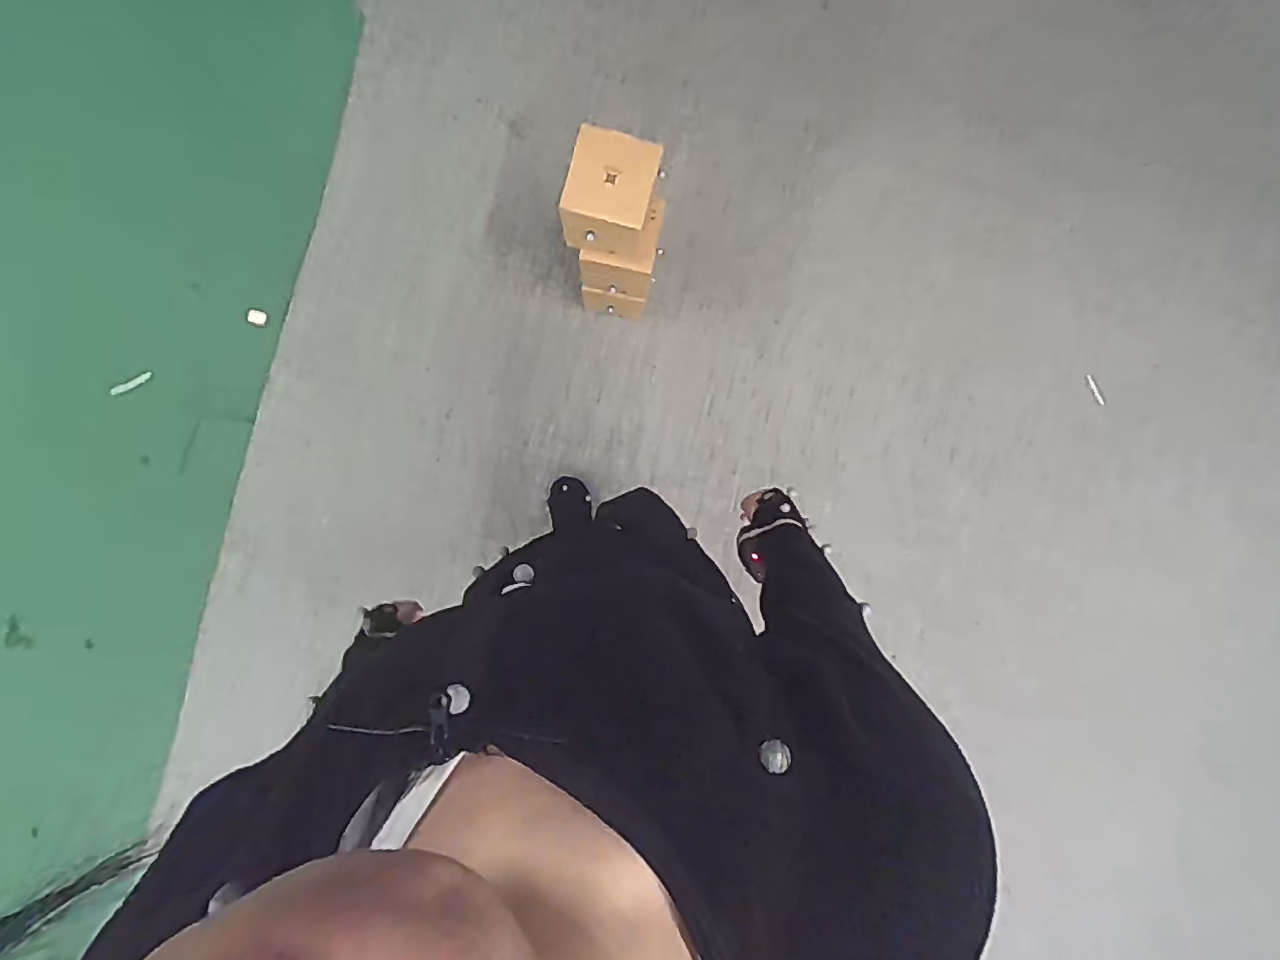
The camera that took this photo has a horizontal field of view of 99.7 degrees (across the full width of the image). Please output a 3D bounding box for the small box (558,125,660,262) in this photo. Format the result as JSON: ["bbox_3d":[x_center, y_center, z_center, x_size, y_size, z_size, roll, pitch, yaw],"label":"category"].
[{"bbox_3d":[-0.061,-0.580,1.119,0.168,0.176,0.179,15,88,-2],"label":"small box"}]
